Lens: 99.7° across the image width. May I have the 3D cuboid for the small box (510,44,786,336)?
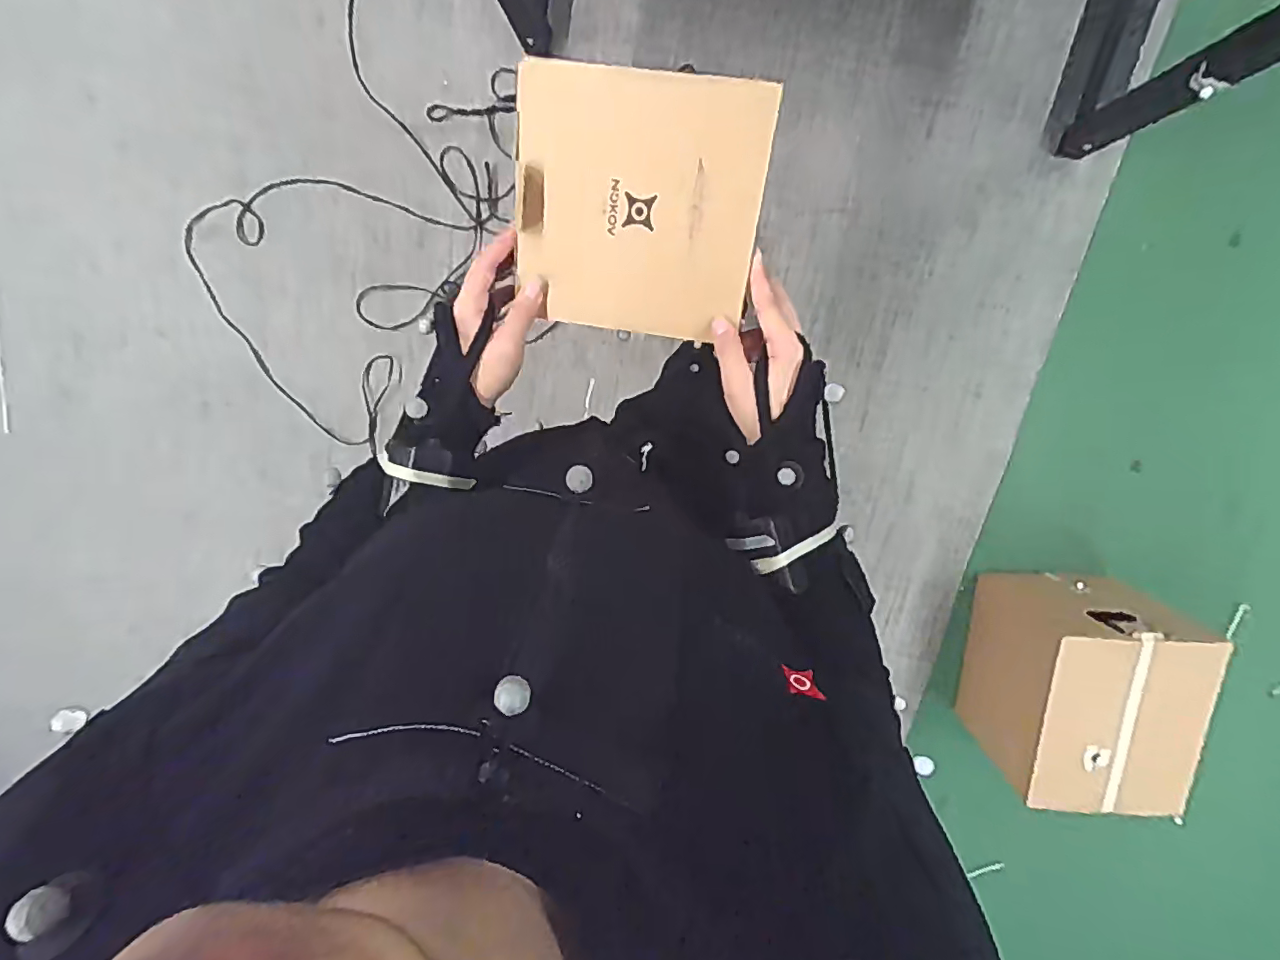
[{"bbox_3d":[0.006,-0.223,0.444,0.179,0.176,0.168,8,114,3],"label":"small box"}]
